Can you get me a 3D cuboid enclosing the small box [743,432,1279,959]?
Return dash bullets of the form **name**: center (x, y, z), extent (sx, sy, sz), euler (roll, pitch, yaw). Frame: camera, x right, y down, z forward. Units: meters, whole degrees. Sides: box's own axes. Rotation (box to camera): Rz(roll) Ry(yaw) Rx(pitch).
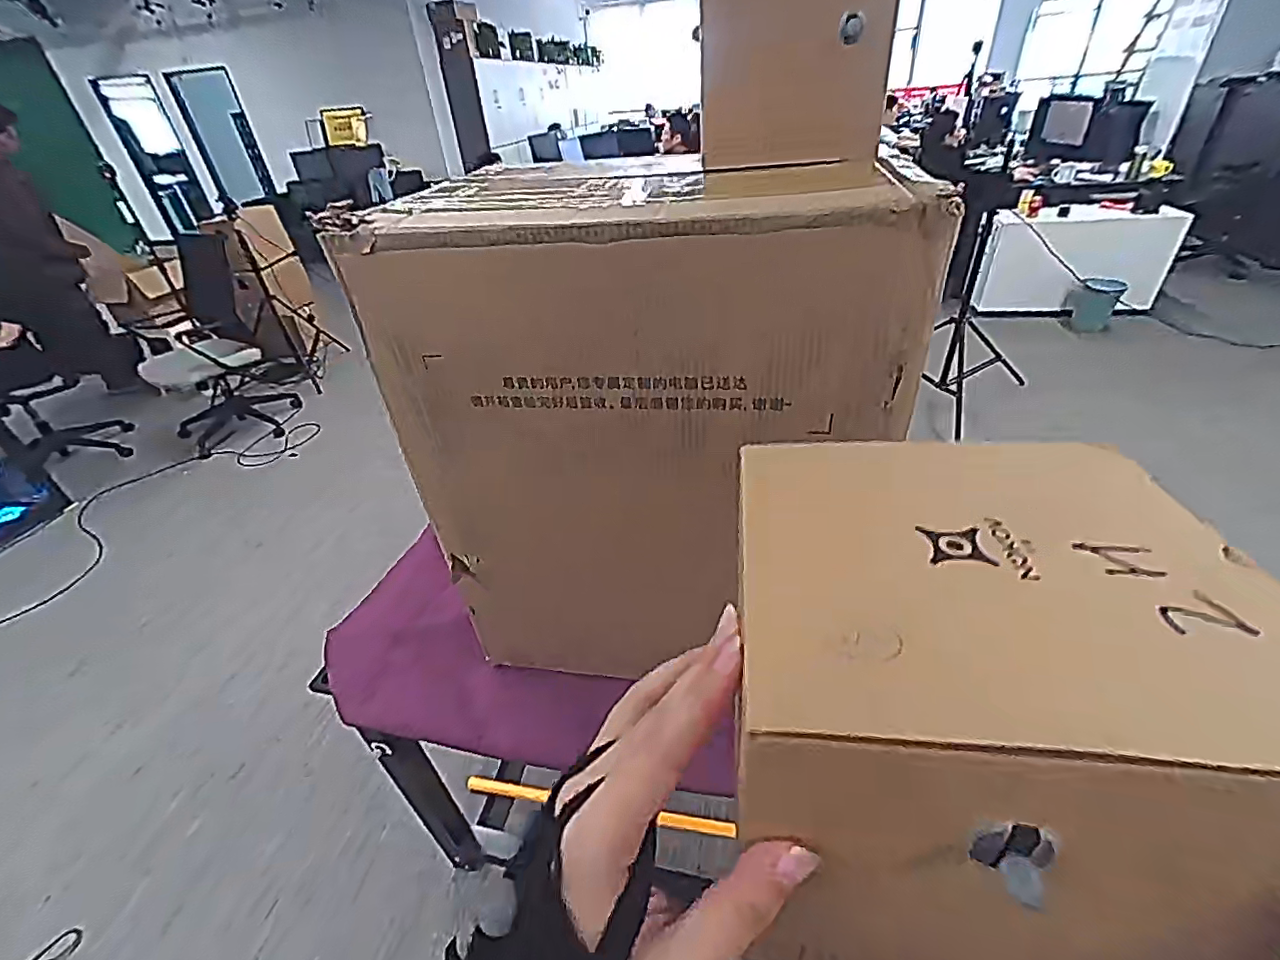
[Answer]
- **small box**: center (0.135, 0.091, 0.240), extent (0.179, 0.176, 0.168), euler (1, 33, 10)
